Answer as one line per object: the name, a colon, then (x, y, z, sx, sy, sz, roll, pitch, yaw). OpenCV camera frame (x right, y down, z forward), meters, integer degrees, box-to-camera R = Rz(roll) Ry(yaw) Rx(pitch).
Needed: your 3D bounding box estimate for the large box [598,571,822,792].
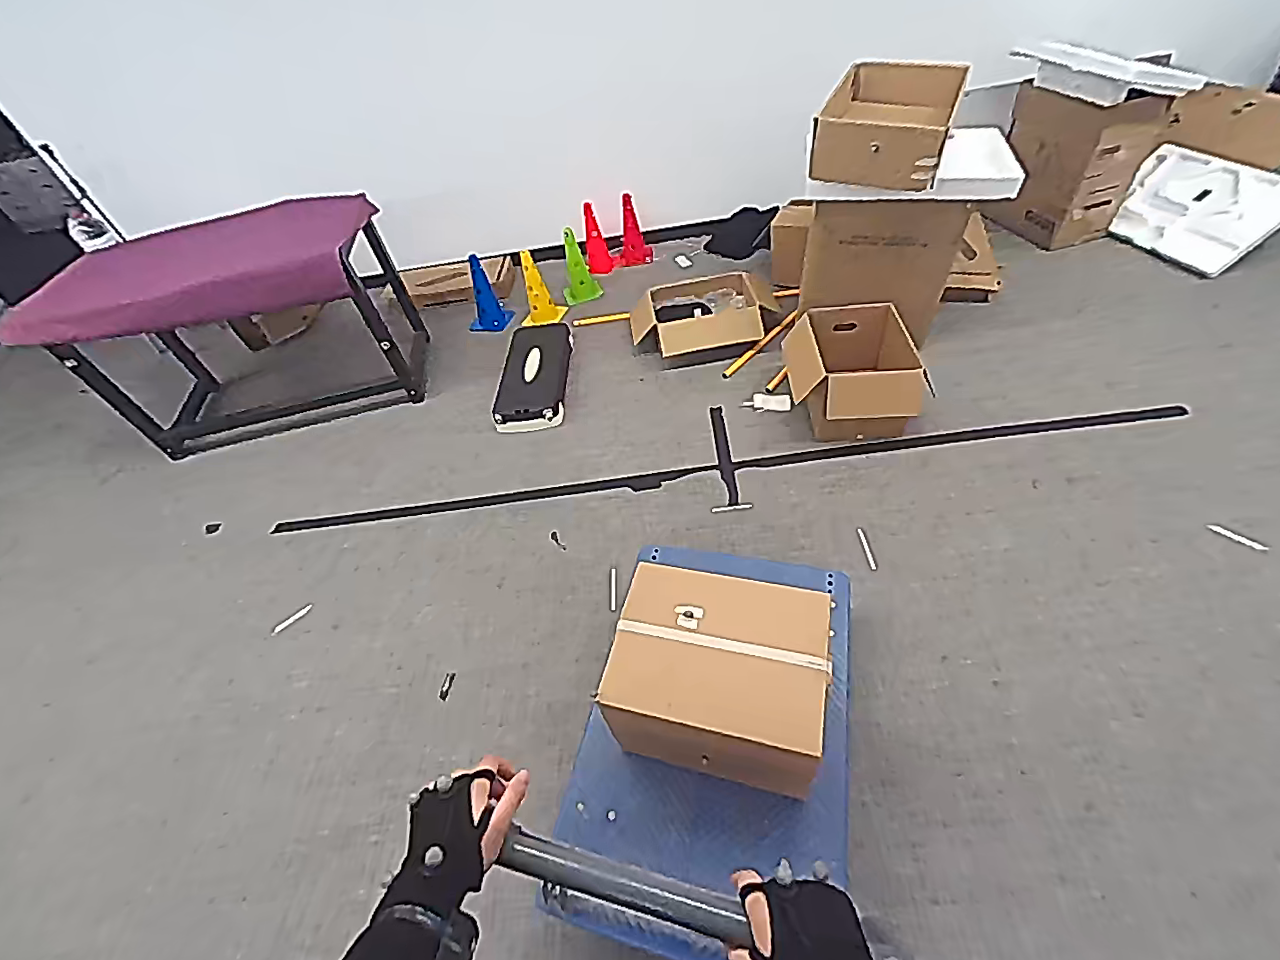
large box: (0.170, 0.430, 1.168, 0.408, 0.320, 0.320, 6, 49, 16)
